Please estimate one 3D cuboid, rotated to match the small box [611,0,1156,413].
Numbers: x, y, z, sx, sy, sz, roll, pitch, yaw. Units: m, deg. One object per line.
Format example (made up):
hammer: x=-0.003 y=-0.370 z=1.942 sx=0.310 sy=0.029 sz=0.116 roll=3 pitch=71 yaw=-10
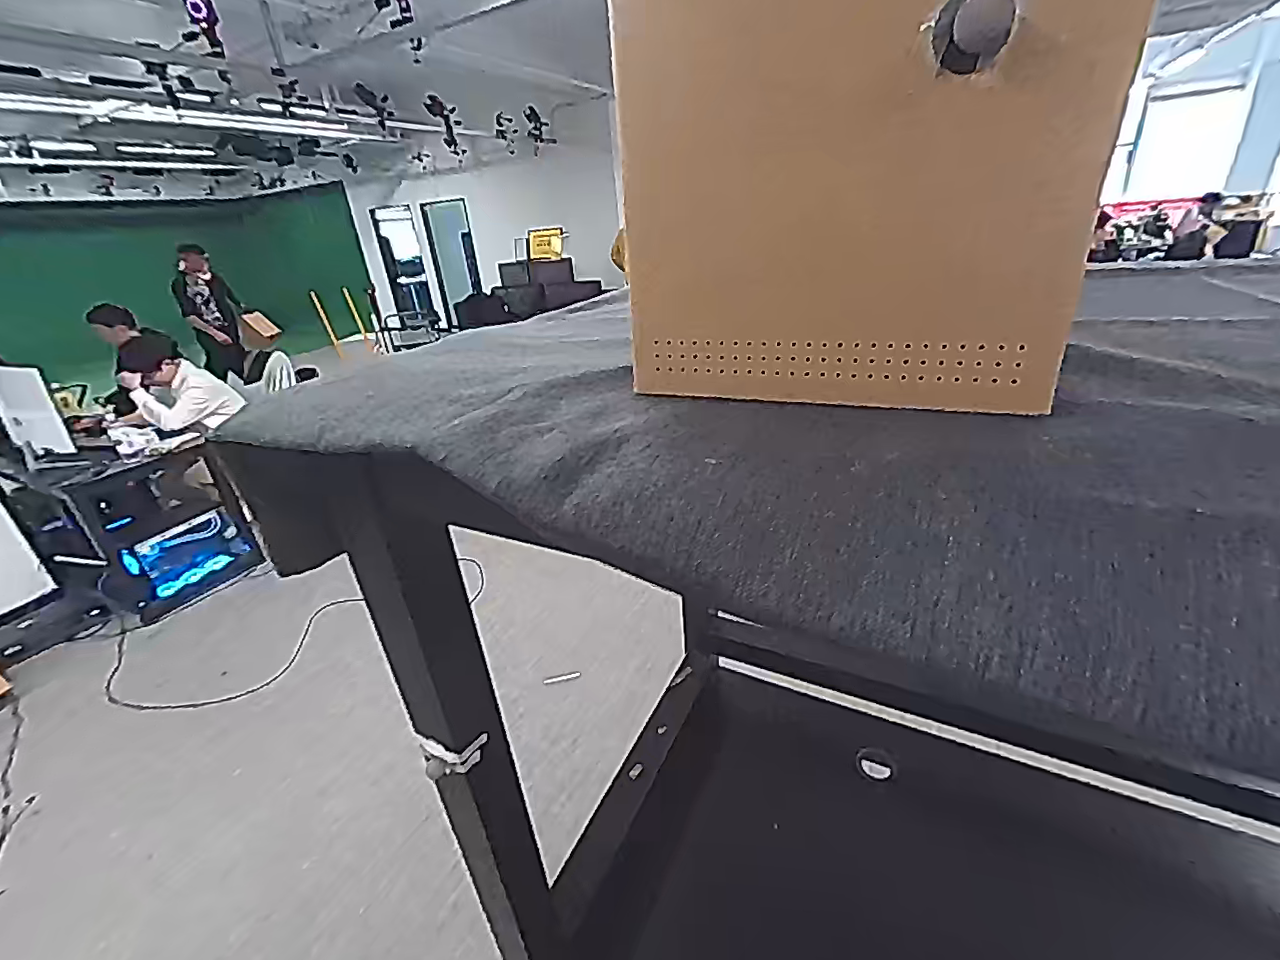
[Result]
small box: x=0.104 y=-0.137 z=0.270 sx=0.179 sy=0.176 sz=0.168 roll=7 pitch=26 yaw=23
